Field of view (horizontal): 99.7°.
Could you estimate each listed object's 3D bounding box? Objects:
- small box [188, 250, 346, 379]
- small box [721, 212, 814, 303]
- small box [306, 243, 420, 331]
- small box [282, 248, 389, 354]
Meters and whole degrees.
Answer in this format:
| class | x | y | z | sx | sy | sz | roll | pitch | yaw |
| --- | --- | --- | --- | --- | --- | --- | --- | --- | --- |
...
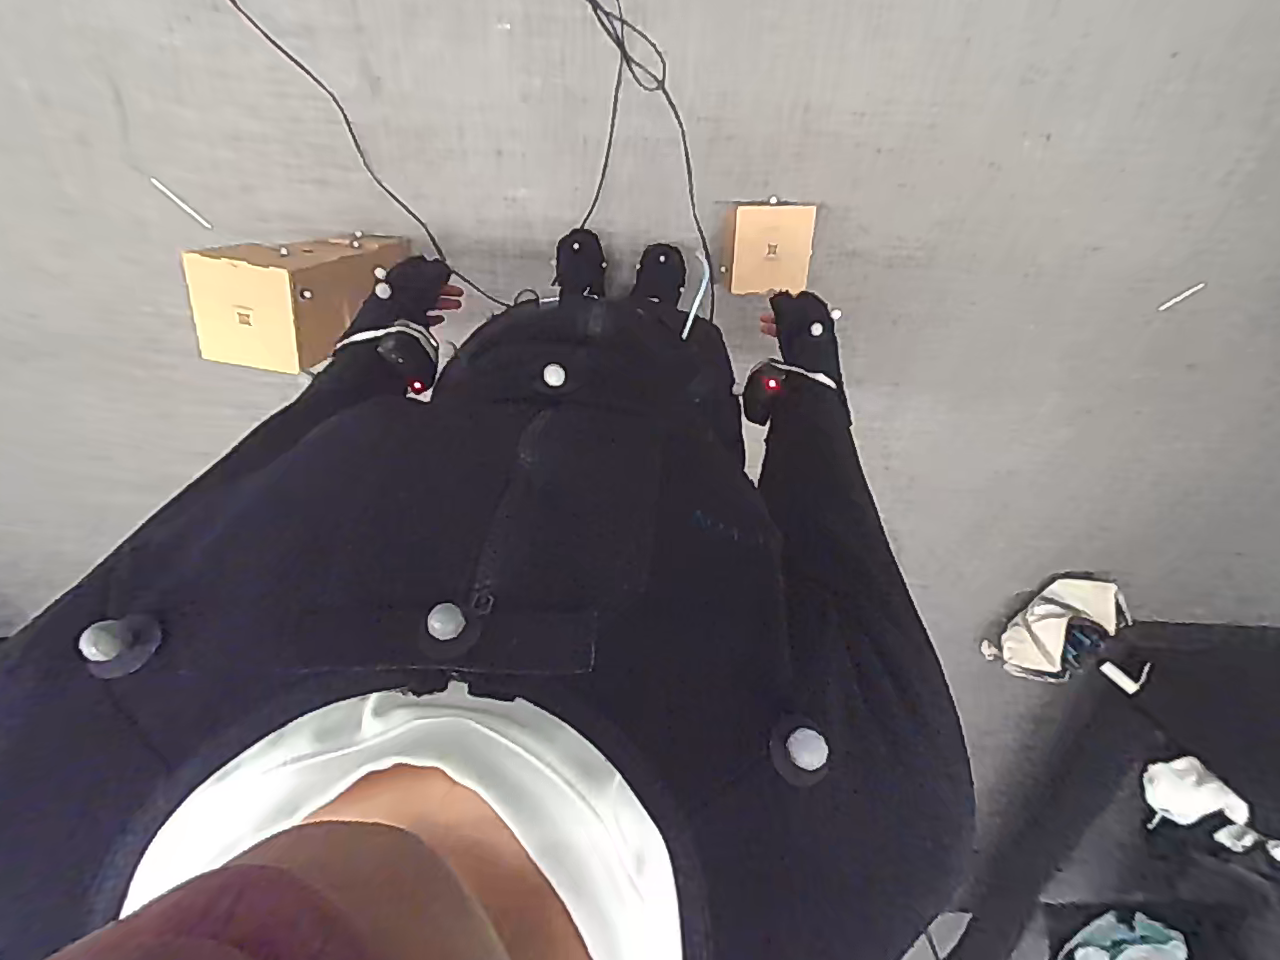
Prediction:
| class | x | y | z | sx | sy | sz | roll | pitch | yaw |
| --- | --- | --- | --- | --- | --- | --- | --- | --- | --- |
| small box | -0.650 | -0.301 | 0.970 | 0.168 | 0.176 | 0.179 | 9 | 117 | -4 |
| small box | 0.279 | -0.508 | 1.226 | 0.168 | 0.176 | 0.179 | 1 | 117 | -1 |
| small box | -0.634 | -0.455 | 1.261 | 0.168 | 0.176 | 0.179 | 3 | 116 | 2 |
| small box | -0.641 | -0.374 | 1.115 | 0.168 | 0.176 | 0.179 | 5 | 118 | -2 |
